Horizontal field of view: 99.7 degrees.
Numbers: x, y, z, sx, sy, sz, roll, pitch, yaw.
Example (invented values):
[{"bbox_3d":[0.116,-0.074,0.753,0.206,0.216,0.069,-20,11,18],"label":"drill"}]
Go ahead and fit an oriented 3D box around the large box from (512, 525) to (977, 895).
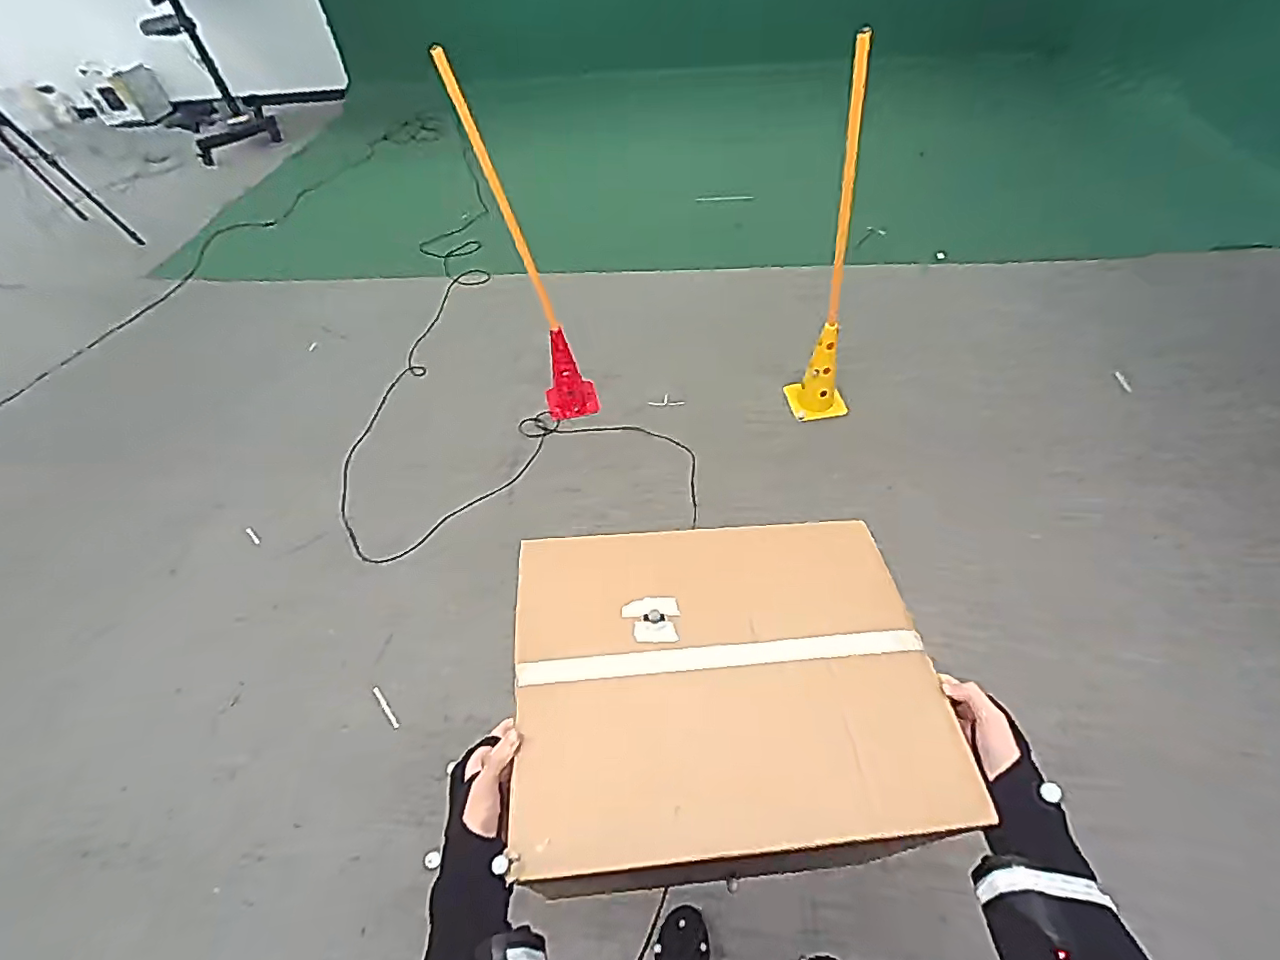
[{"bbox_3d":[0.077,0.280,0.653,0.408,0.320,0.320,-4,50,-5],"label":"large box"}]
